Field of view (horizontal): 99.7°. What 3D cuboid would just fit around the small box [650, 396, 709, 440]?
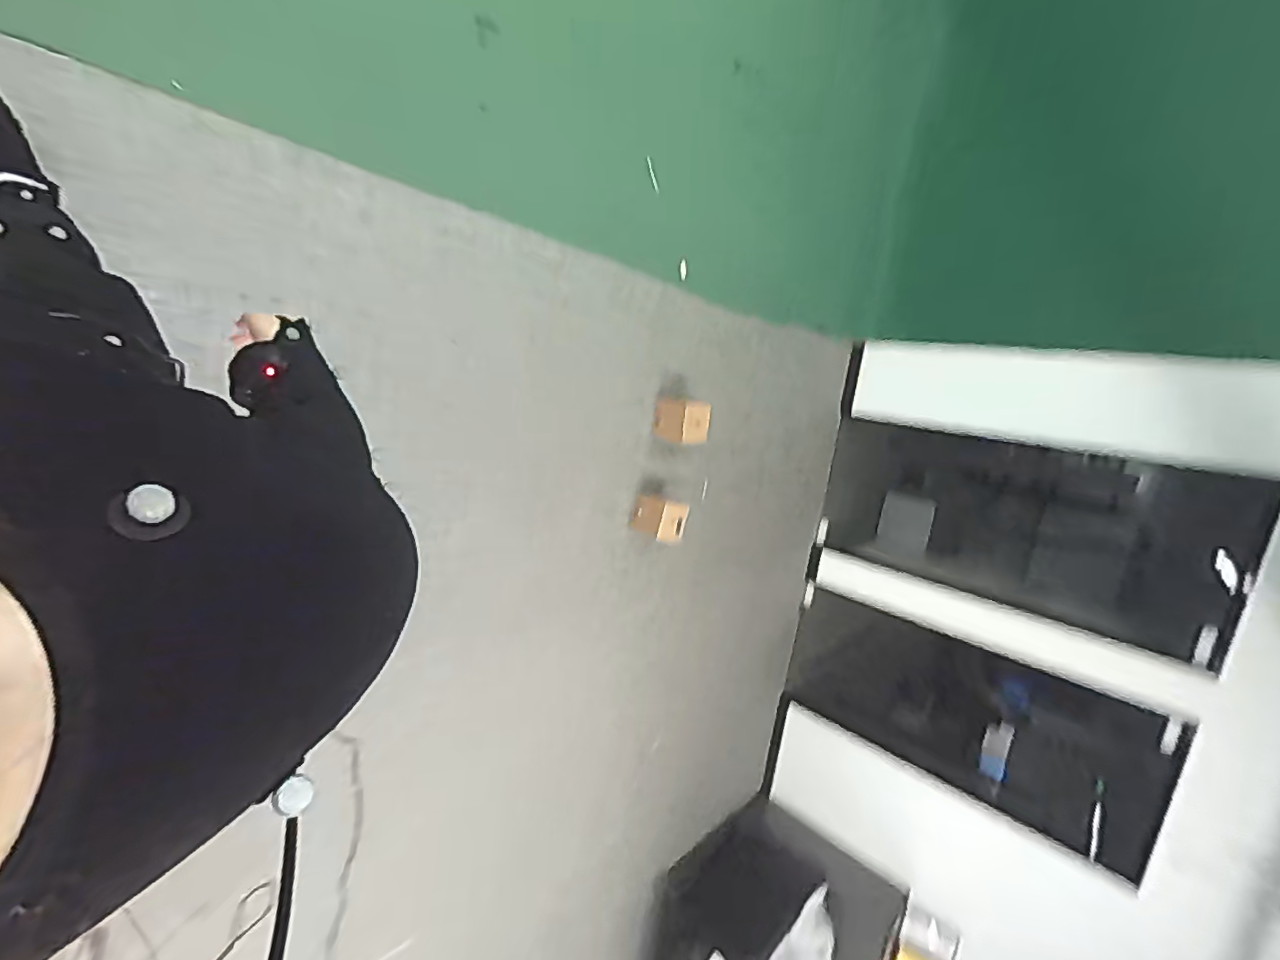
[{"bbox_3d":[0.166,-0.267,2.295,0.179,0.176,0.168,-9,109,-47],"label":"small box"}]

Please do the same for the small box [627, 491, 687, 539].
[{"bbox_3d":[0.072,0.149,2.336,0.179,0.176,0.168,12,94,-49],"label":"small box"}]
